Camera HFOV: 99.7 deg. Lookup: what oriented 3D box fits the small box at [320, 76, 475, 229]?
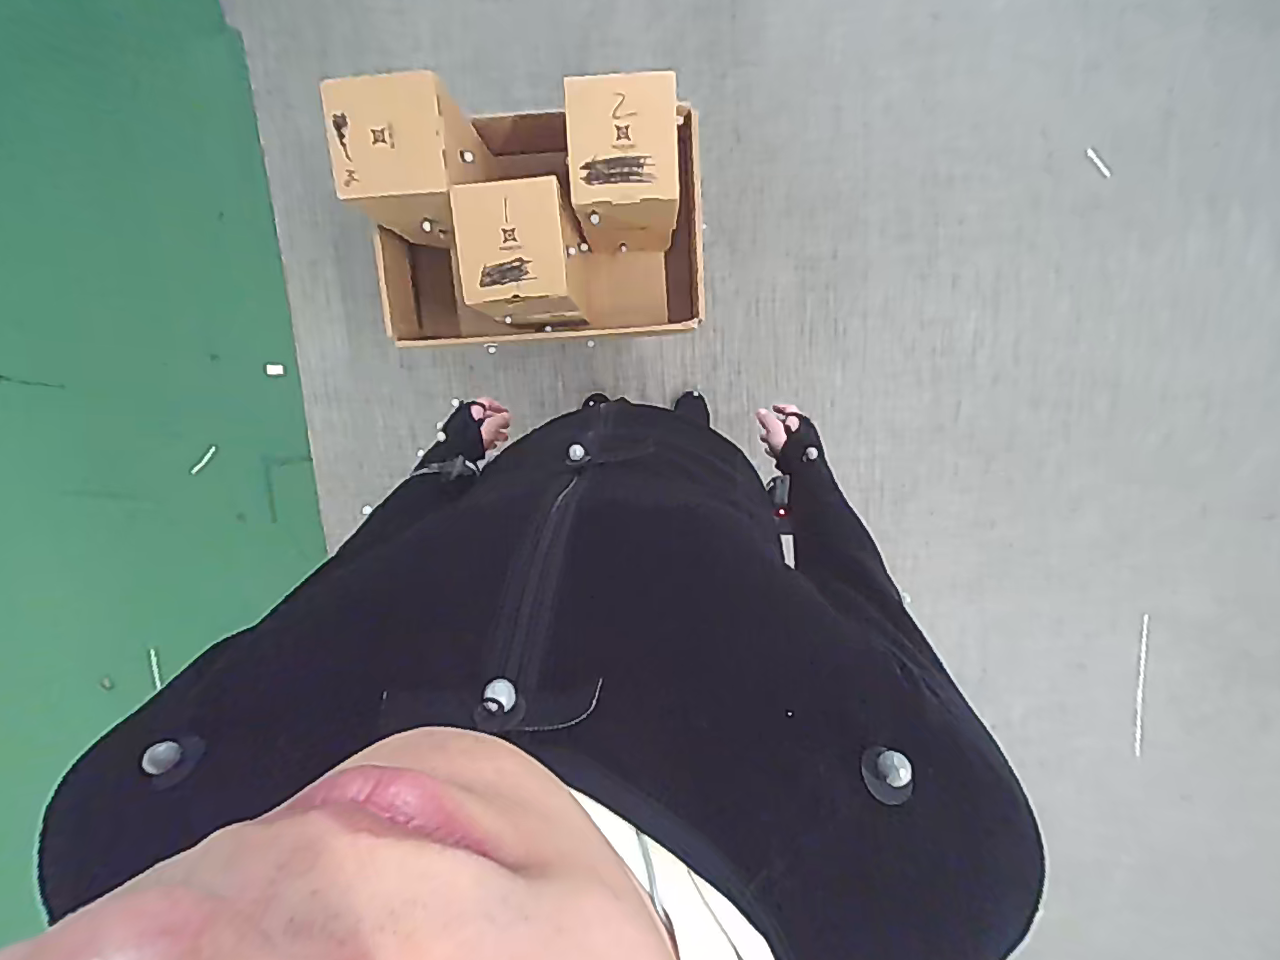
[{"bbox_3d":[-0.380,-0.523,0.885,0.179,0.176,0.168,-3,100,1],"label":"small box"}]
